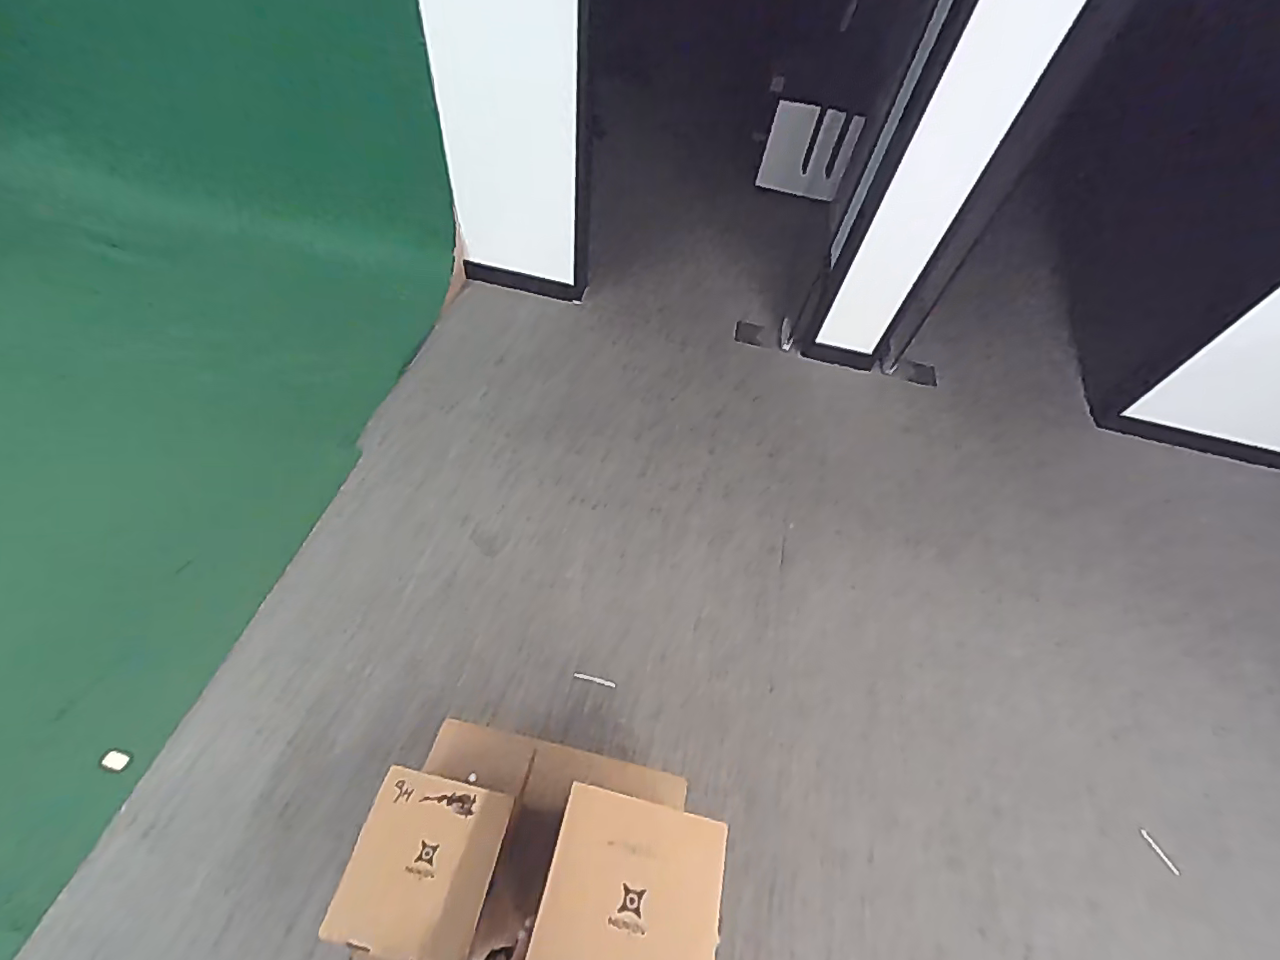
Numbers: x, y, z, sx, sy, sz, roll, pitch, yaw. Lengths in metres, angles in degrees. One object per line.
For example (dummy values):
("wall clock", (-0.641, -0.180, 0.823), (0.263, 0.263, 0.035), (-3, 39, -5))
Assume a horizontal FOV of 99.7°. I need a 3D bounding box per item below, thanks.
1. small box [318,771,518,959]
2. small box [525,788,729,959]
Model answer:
("small box", (-0.262, 0.498, 0.695), (0.168, 0.176, 0.179), (15, 56, 1))
("small box", (-0.017, 0.449, 0.557), (0.168, 0.176, 0.179), (15, 51, 3))
